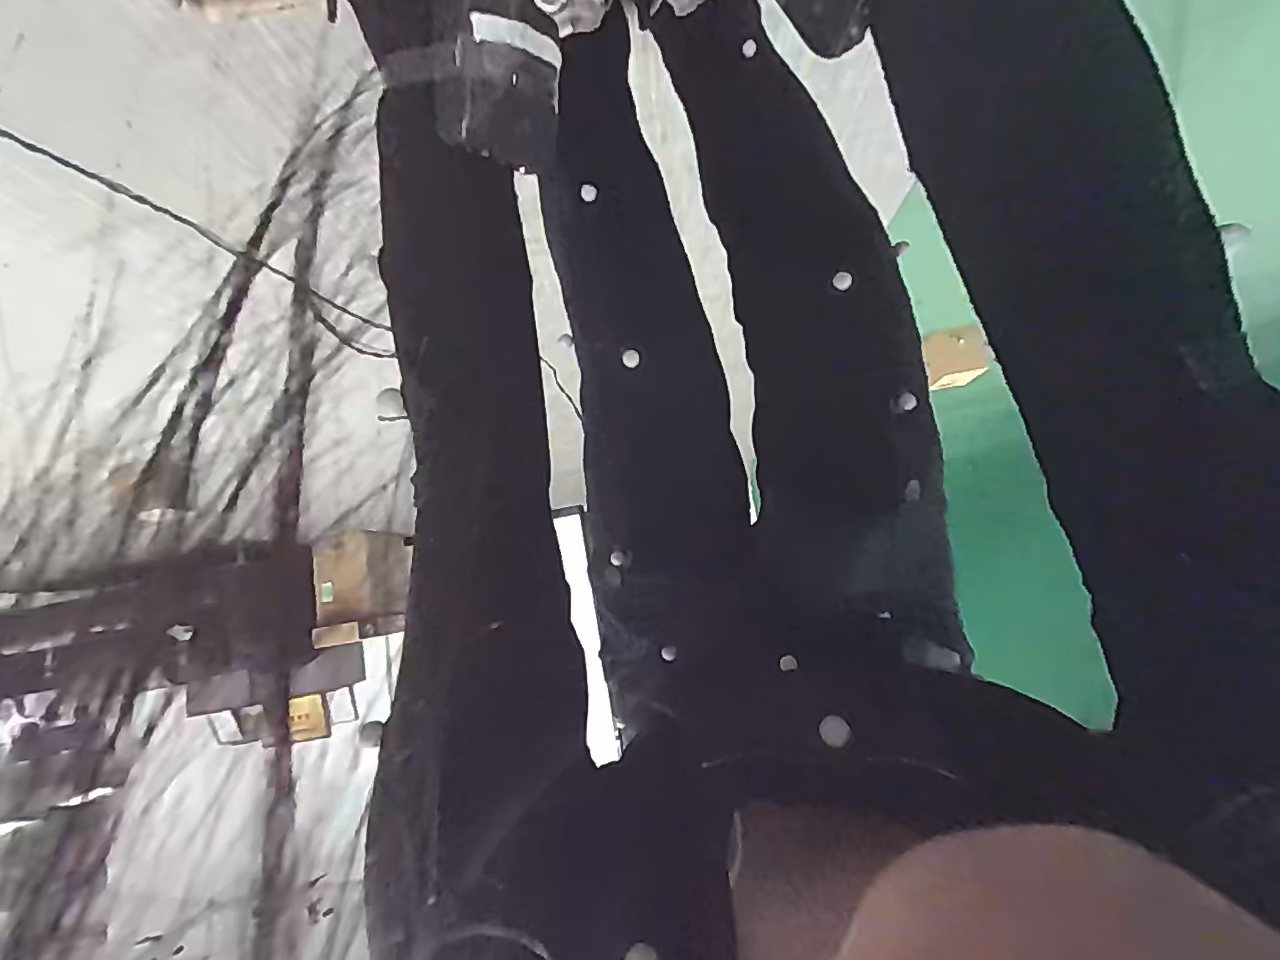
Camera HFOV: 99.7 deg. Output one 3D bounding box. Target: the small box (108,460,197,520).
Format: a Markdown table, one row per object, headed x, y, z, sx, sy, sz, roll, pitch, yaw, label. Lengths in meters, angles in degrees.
| x | y | z | sx | sy | sz | roll | pitch | yaw | label |
| --- | --- | --- | --- | --- | --- | --- | --- | --- | --- |
| -1.708 | 0.037 | 1.901 | 0.179 | 0.176 | 0.168 | -11 | 171 | 5 | small box |

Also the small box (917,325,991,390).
| x | y | z | sx | sy | sz | roll | pitch | yaw | label |
| --- | --- | --- | --- | --- | --- | --- | --- | --- | --- |
| 1.158 | -0.454 | 2.008 | 0.168 | 0.176 | 0.179 | -11 | 170 | 1 | small box |
